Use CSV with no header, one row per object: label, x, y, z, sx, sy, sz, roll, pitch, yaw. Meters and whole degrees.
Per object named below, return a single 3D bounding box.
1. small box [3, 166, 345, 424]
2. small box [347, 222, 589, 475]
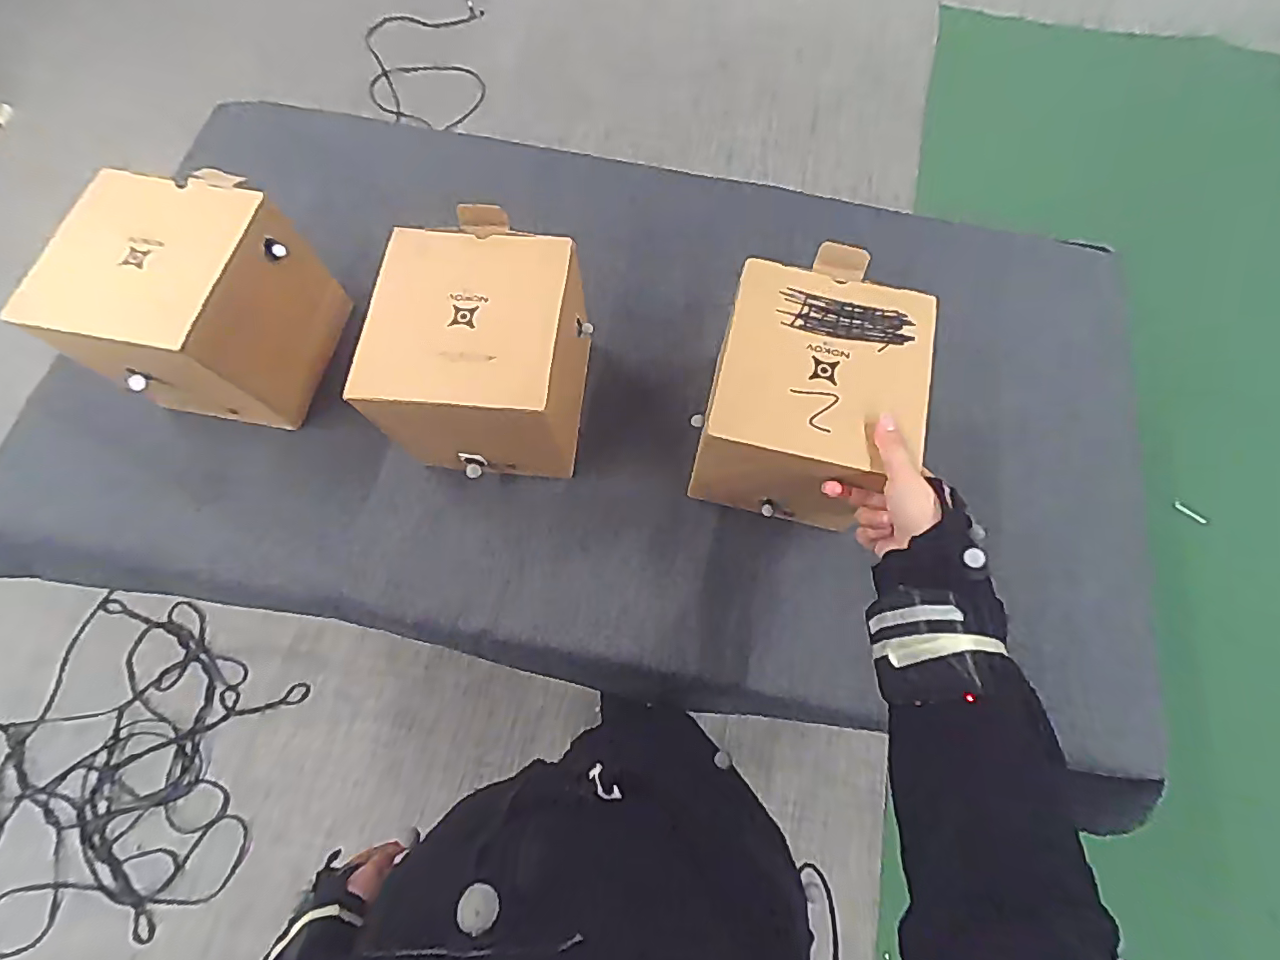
small box,-0.439,-0.175,0.549,0.168,0.176,0.179,10,70,3
small box,-0.145,-0.118,0.530,0.168,0.176,0.179,3,71,3
